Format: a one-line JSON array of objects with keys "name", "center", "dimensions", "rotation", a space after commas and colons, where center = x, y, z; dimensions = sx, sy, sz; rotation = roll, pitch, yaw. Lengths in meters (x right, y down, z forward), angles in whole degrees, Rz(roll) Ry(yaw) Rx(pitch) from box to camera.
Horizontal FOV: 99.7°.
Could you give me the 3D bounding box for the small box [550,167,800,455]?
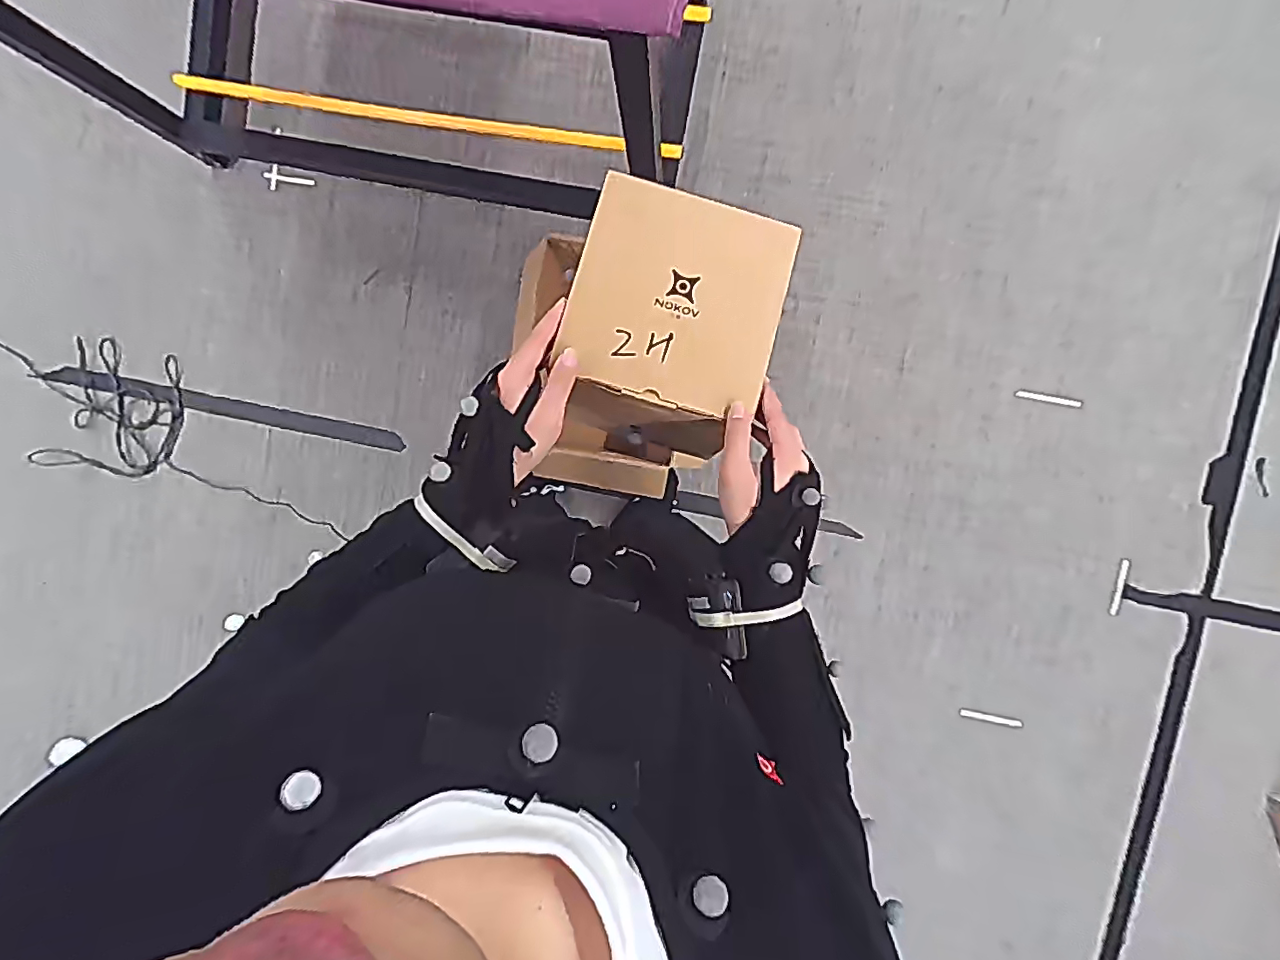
[{"name": "small box", "center": [0.025, -0.137, 0.503], "dimensions": [0.168, 0.176, 0.179], "rotation": [16, 82, -2]}]
